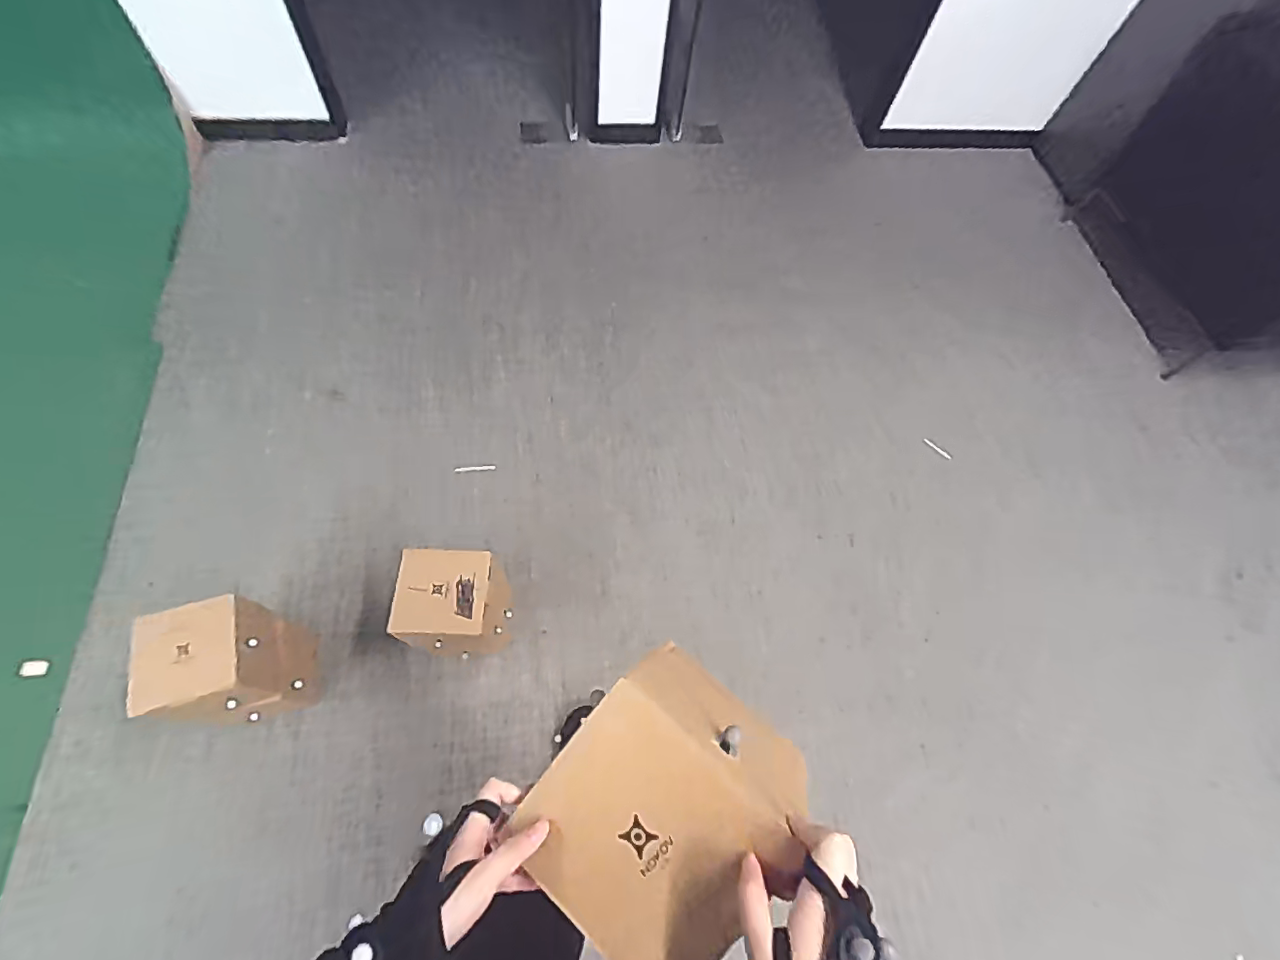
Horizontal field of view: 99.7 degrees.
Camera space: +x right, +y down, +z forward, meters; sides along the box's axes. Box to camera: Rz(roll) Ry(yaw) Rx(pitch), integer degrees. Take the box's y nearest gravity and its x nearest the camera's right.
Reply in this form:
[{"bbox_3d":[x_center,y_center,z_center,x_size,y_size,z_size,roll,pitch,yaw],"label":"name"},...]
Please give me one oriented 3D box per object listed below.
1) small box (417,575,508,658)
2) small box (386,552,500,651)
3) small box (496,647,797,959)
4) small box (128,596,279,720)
[{"bbox_3d":[-0.411,0.320,1.269,0.179,0.176,0.168,3,63,-6],"label":"small box"},{"bbox_3d":[-0.394,0.255,1.117,0.179,0.176,0.168,3,64,-4],"label":"small box"},{"bbox_3d":[0.016,0.270,0.481,0.179,0.176,0.168,38,93,15],"label":"small box"},{"bbox_3d":[-0.814,0.343,1.028,0.168,0.176,0.179,-13,66,-13],"label":"small box"}]
